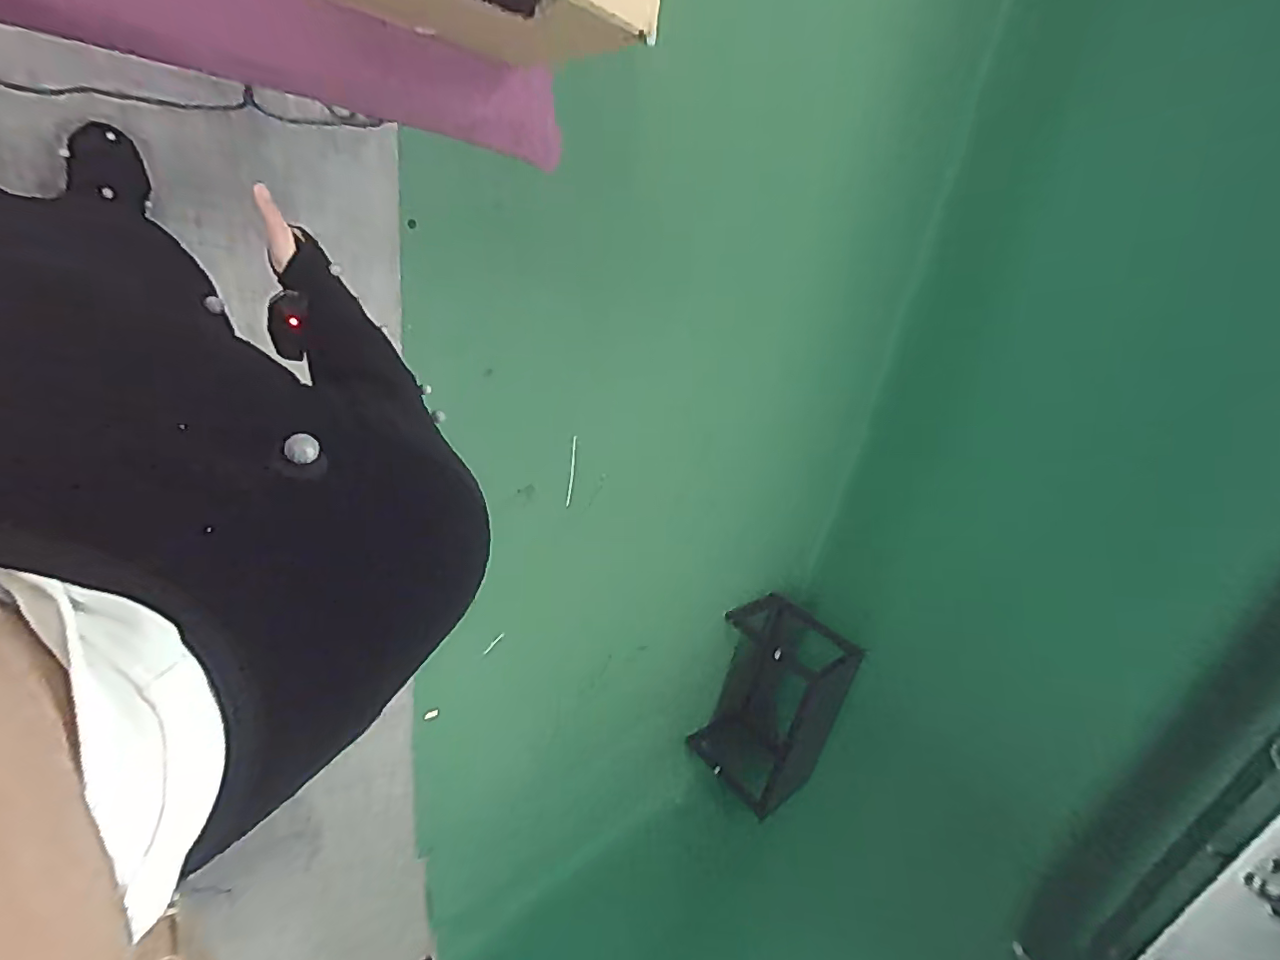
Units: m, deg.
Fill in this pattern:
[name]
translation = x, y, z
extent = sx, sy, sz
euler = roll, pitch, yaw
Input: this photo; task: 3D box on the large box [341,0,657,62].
[large box]
translation = -0.169, -0.721, 0.545
extent = 0.320, 0.320, 0.408
euler = -13, 123, -39
